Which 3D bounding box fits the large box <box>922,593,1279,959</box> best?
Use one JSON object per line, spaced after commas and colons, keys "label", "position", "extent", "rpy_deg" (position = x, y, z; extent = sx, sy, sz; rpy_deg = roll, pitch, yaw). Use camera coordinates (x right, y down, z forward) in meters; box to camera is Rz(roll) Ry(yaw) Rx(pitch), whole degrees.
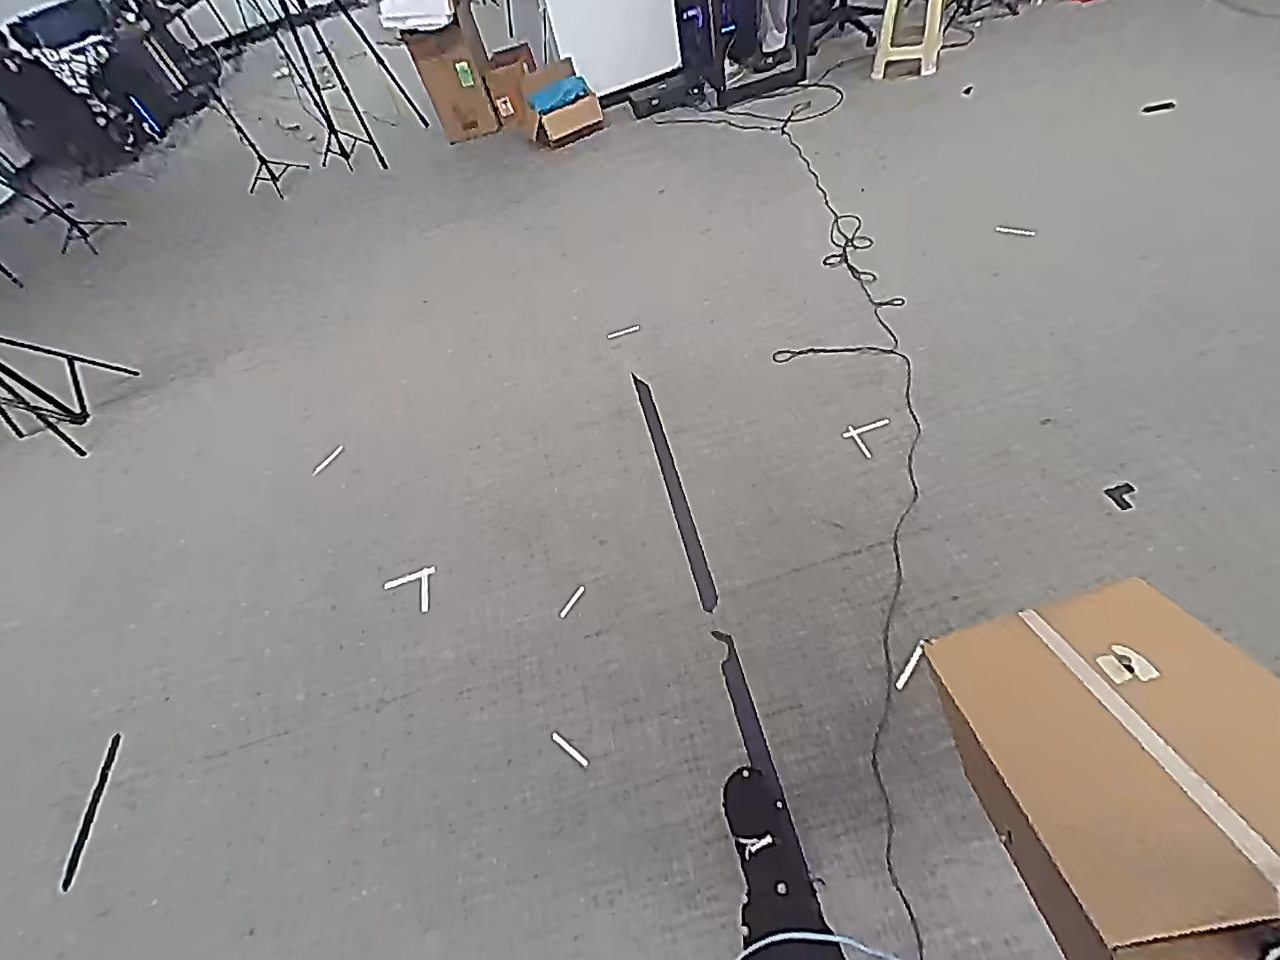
{"label": "large box", "position": [0.640, 0.423, 0.696], "extent": [0.320, 0.320, 0.408], "rpy_deg": [-21, 19, 11]}
